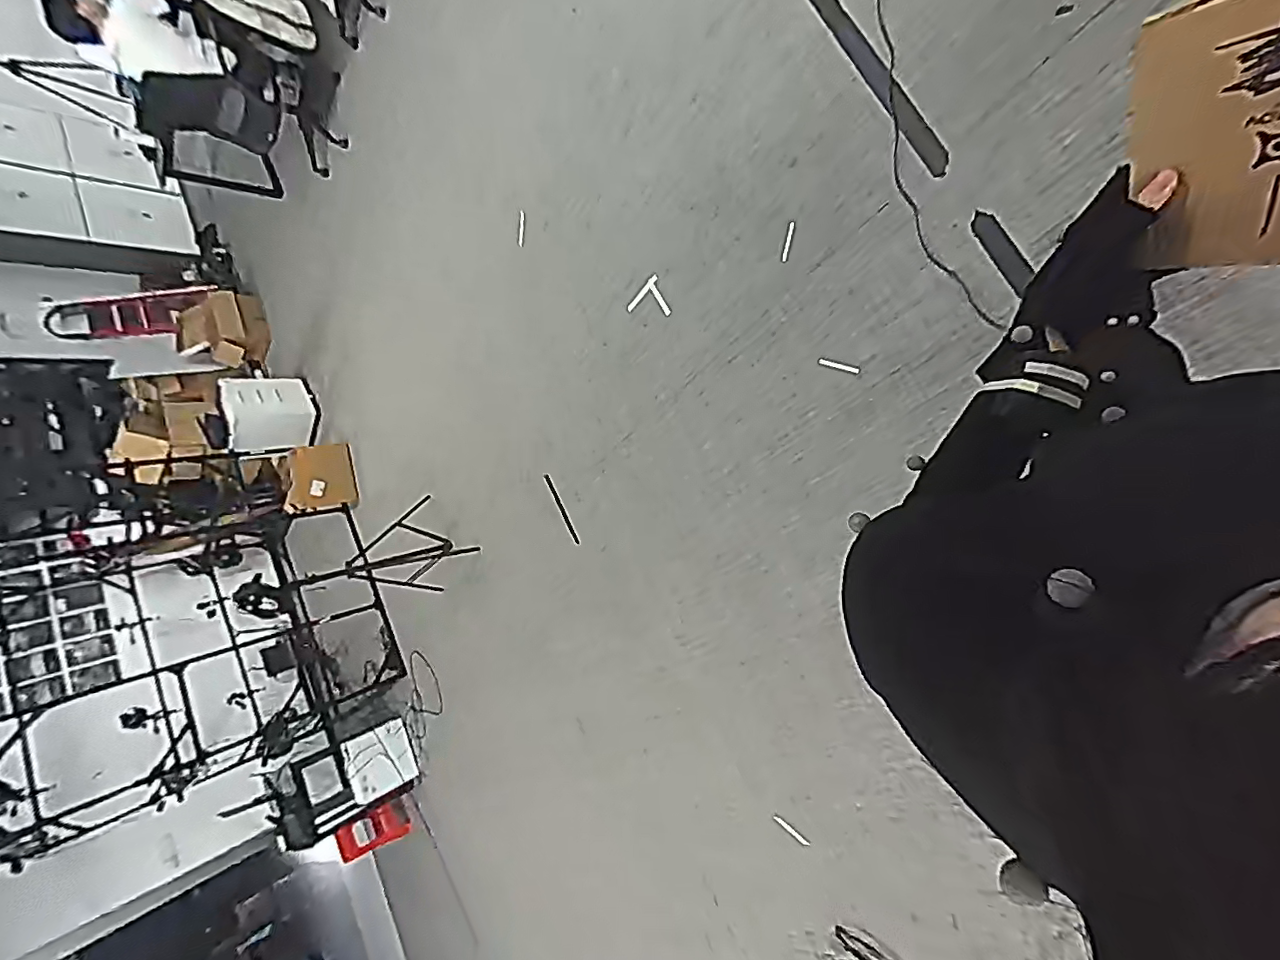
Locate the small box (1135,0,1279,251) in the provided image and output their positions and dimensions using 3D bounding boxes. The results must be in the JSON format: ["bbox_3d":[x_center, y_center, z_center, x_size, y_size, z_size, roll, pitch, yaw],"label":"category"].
[{"bbox_3d":[0.470,-0.272,0.346,0.168,0.176,0.179,36,154,61],"label":"small box"}]
